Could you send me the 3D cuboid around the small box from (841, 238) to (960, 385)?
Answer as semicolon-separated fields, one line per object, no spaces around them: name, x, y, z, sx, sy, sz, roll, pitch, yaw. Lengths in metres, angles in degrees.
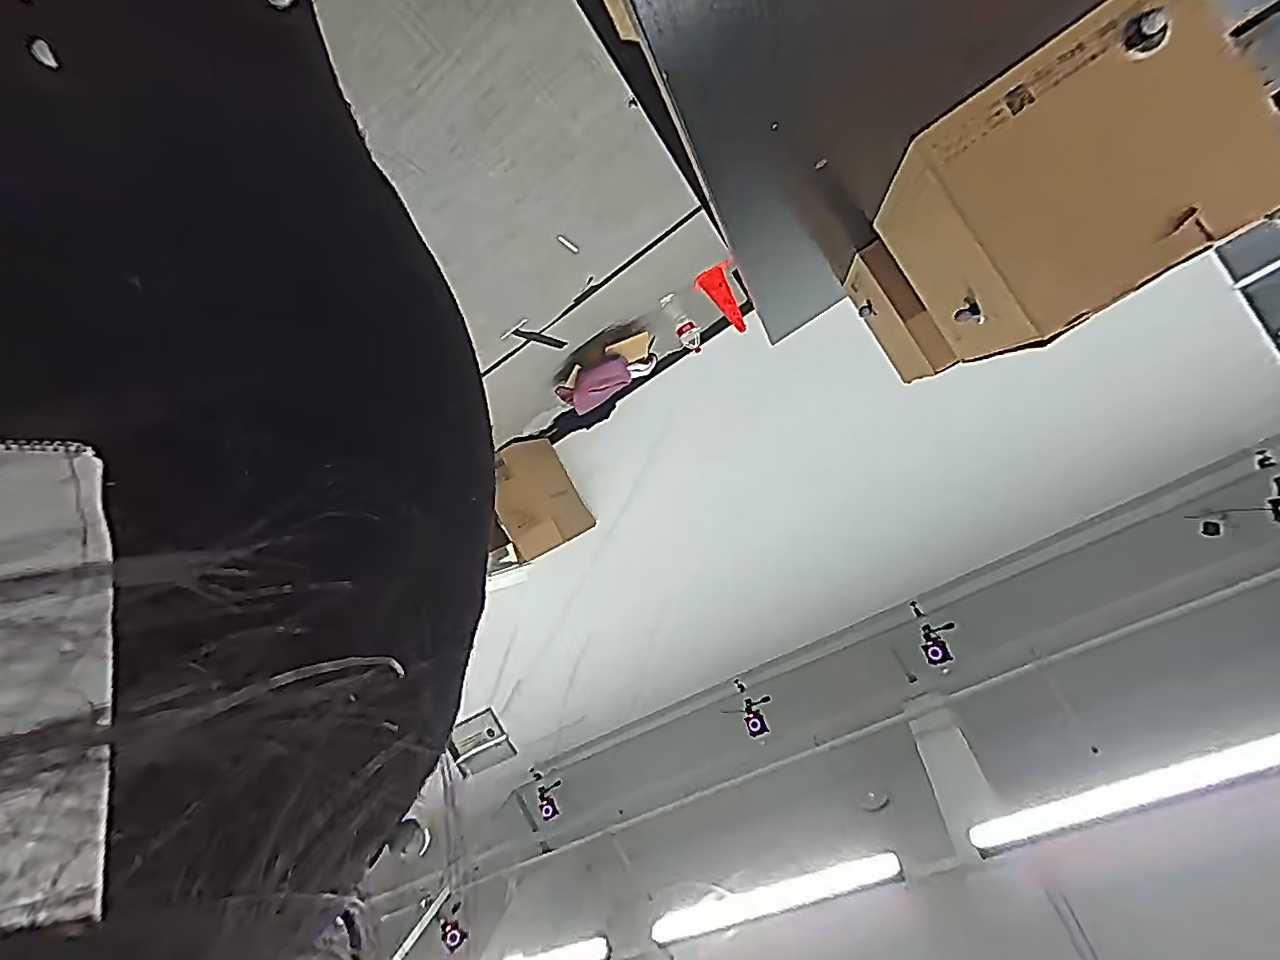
small box;0.377;-0.238;0.663;0.179;0.176;0.168;-32;177;16

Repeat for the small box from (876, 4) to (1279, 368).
small box;0.313;-0.211;0.428;0.168;0.176;0.179;-32;179;16
